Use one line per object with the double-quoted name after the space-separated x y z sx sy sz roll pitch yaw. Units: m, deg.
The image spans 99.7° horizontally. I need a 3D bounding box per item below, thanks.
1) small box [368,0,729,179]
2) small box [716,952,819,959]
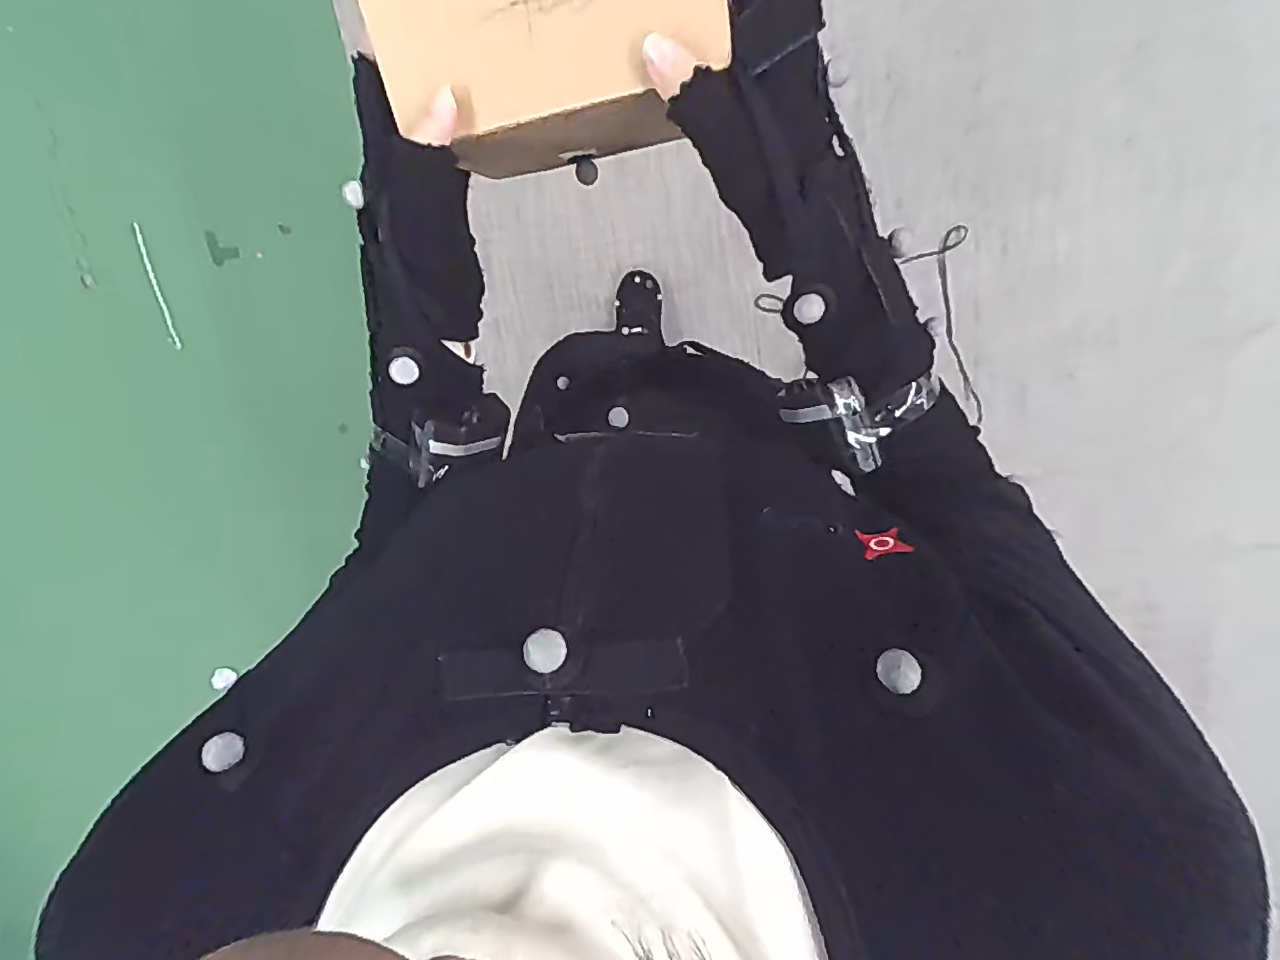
-0.048 -0.292 0.307 0.168 0.176 0.179 -9 113 8 "small box"
0.208 0.857 0.814 0.179 0.176 0.168 -9 104 8 "small box"
